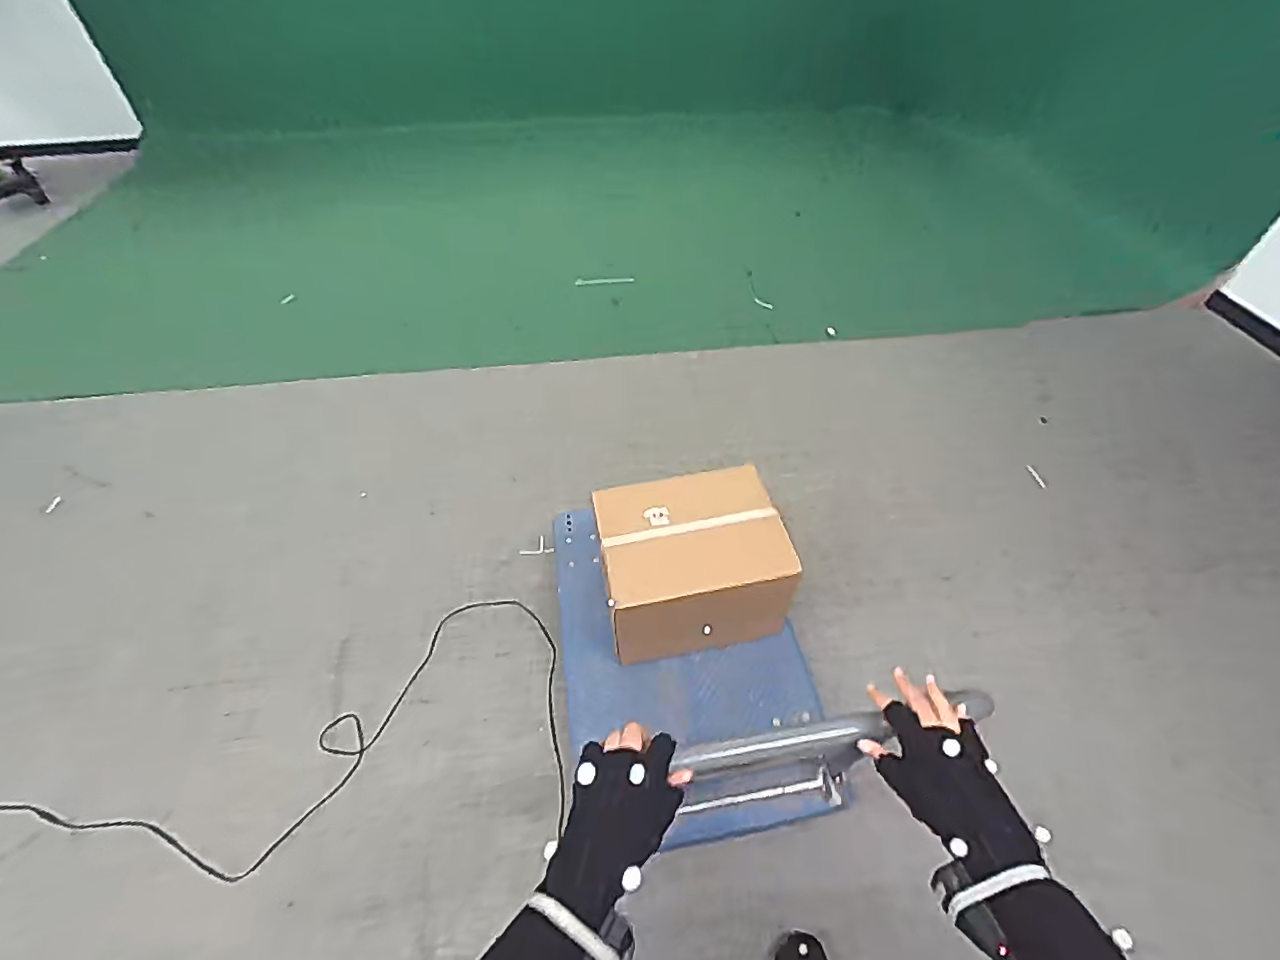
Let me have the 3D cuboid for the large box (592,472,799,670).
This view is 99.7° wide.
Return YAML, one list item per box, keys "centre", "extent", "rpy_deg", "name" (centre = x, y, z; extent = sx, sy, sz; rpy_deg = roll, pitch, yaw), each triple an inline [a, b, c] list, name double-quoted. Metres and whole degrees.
- centre: [0.116, 0.223, 1.313]
  extent: [0.408, 0.320, 0.320]
  rpy_deg: [-10, 49, -6]
  name: "large box"
